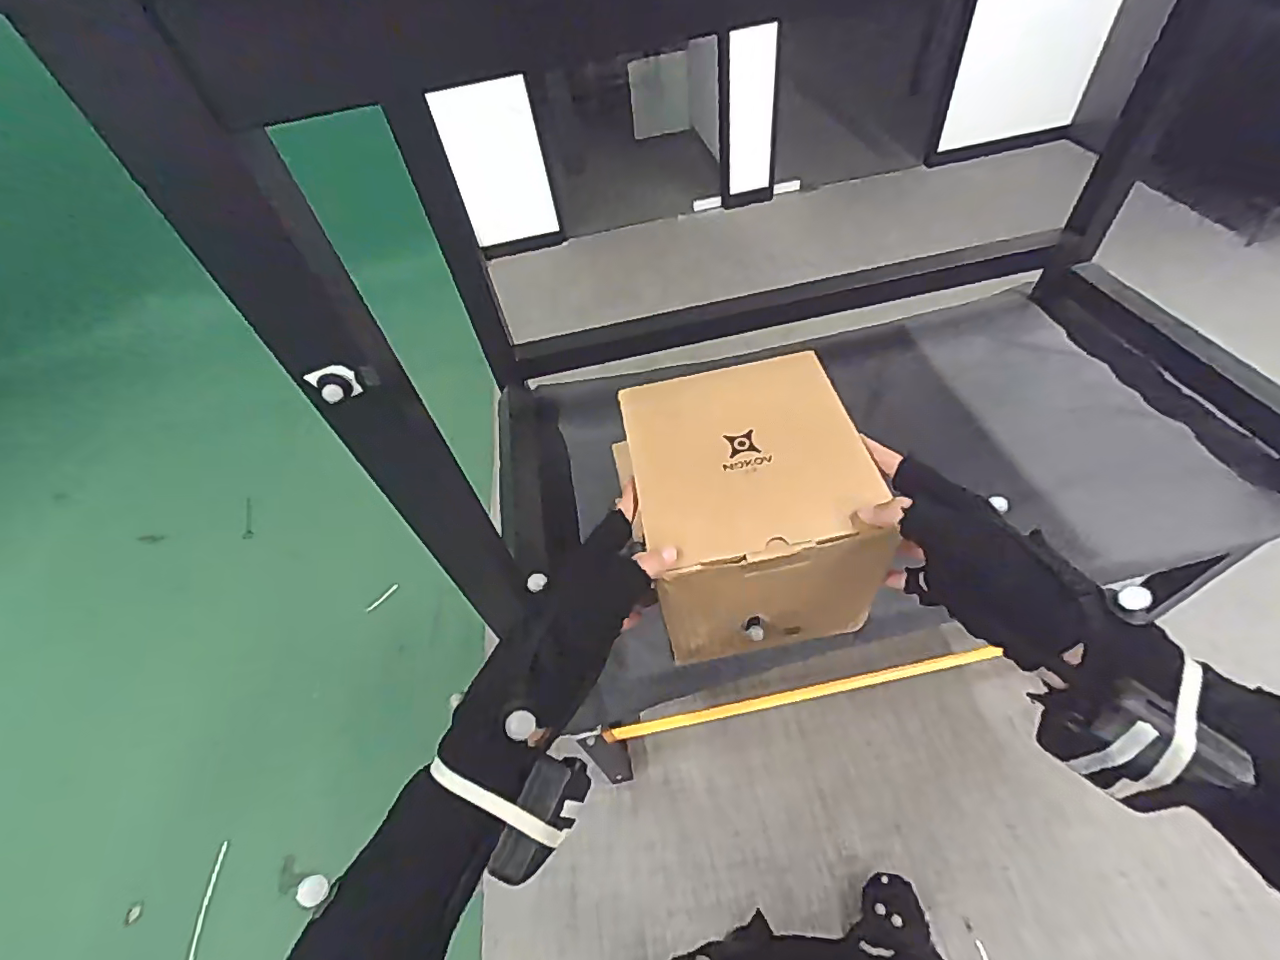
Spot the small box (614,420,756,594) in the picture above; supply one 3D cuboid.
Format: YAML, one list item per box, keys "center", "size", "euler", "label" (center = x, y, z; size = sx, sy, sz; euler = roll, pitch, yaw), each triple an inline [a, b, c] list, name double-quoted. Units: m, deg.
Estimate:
- center: [0.065, 0.042, 0.810]
  size: [0.168, 0.176, 0.179]
  euler: [-14, 50, -2]
  label: "small box"
